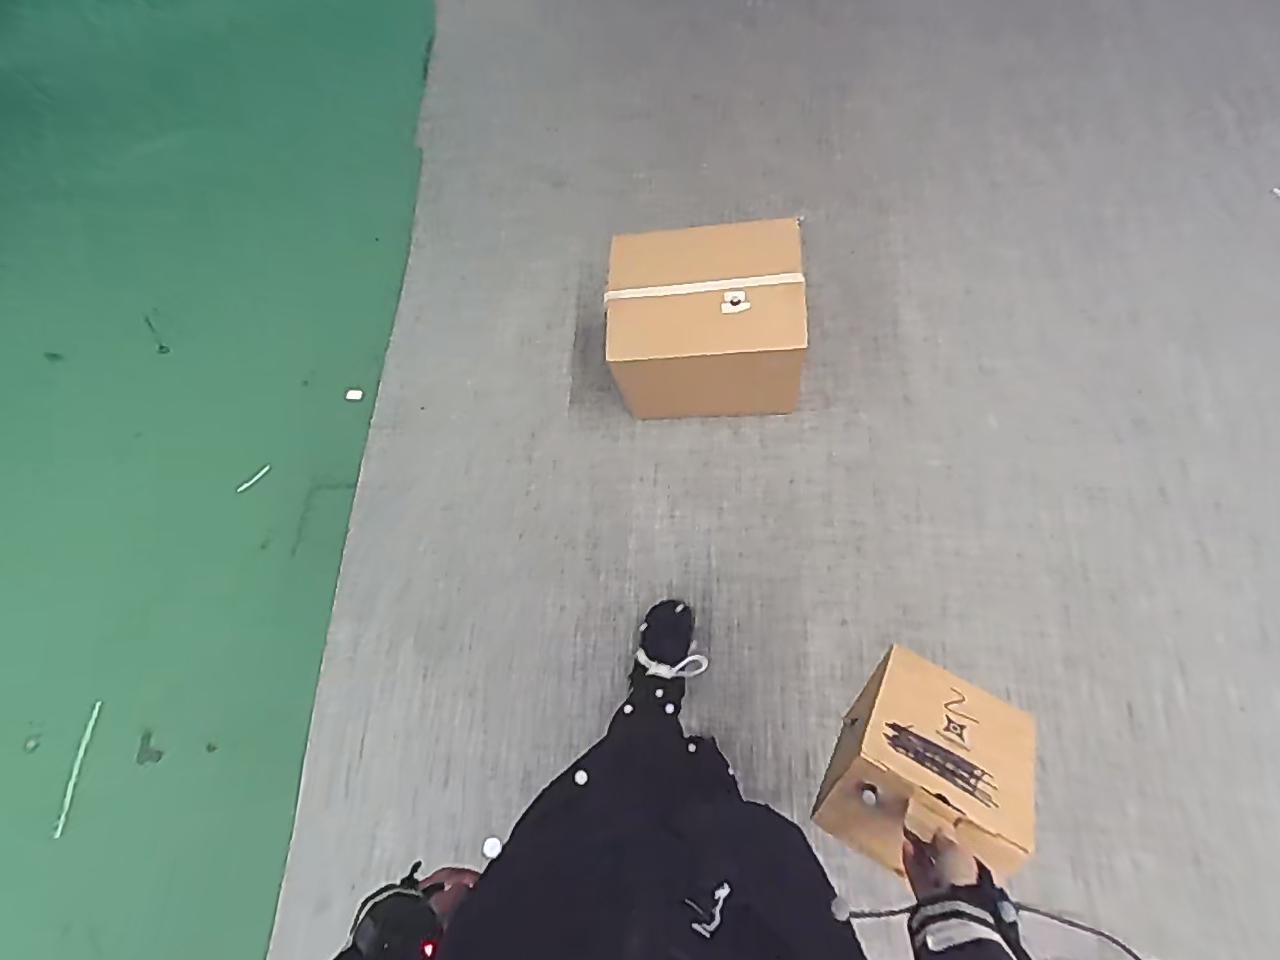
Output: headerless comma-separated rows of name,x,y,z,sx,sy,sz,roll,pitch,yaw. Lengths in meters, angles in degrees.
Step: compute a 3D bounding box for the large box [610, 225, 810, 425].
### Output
large box,0.158,-0.336,1.256,0.408,0.320,0.320,-2,73,9
